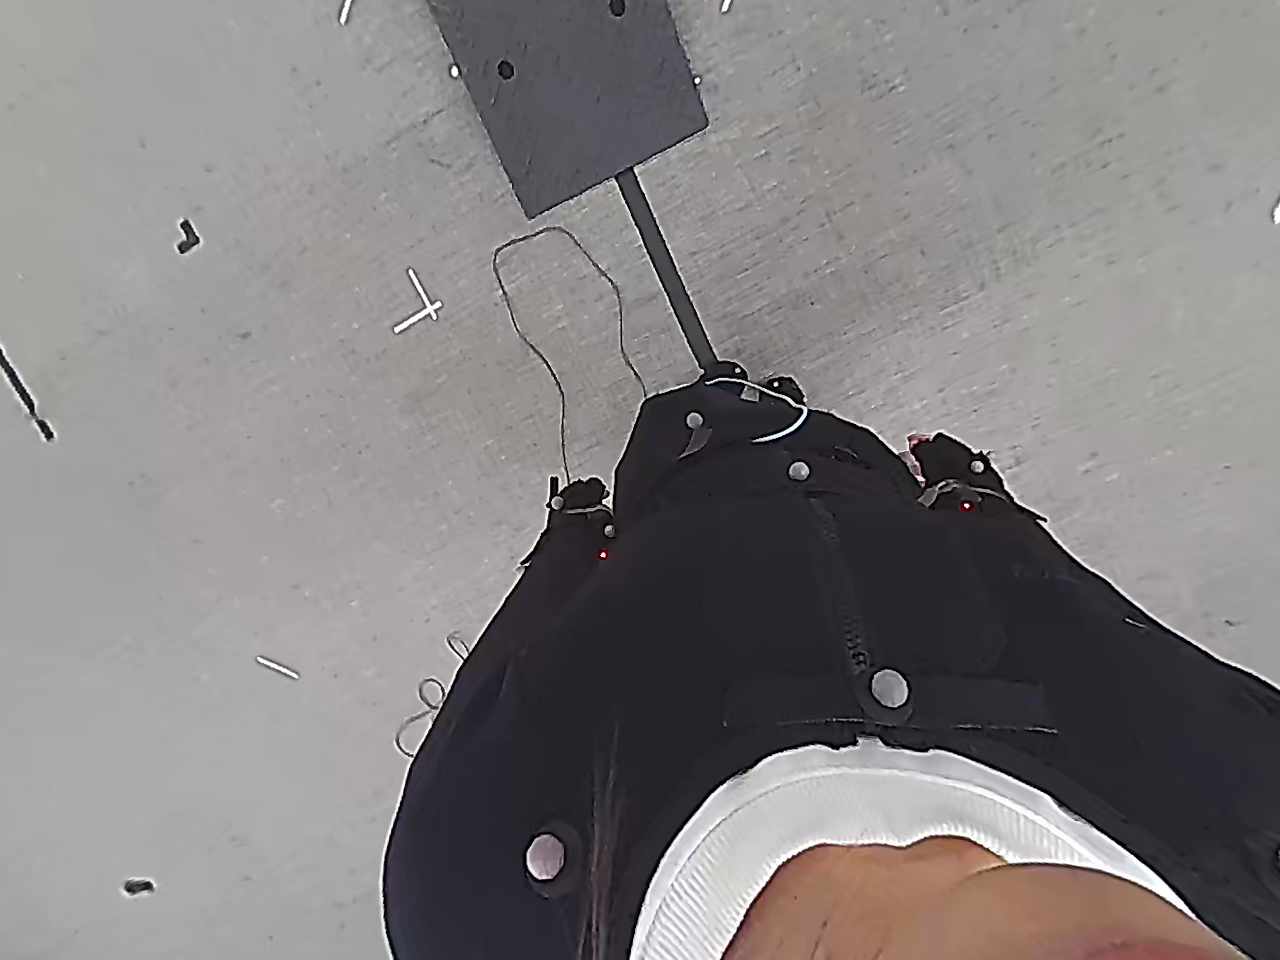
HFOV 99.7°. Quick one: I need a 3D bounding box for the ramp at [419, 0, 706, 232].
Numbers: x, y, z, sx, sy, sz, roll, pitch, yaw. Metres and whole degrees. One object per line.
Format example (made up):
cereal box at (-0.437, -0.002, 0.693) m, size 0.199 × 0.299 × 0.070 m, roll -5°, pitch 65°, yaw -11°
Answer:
ramp at (-0.264, -1.151, 1.198) m, size 0.509 × 0.206 × 0.991 m, roll -25°, pitch 97°, yaw 9°
